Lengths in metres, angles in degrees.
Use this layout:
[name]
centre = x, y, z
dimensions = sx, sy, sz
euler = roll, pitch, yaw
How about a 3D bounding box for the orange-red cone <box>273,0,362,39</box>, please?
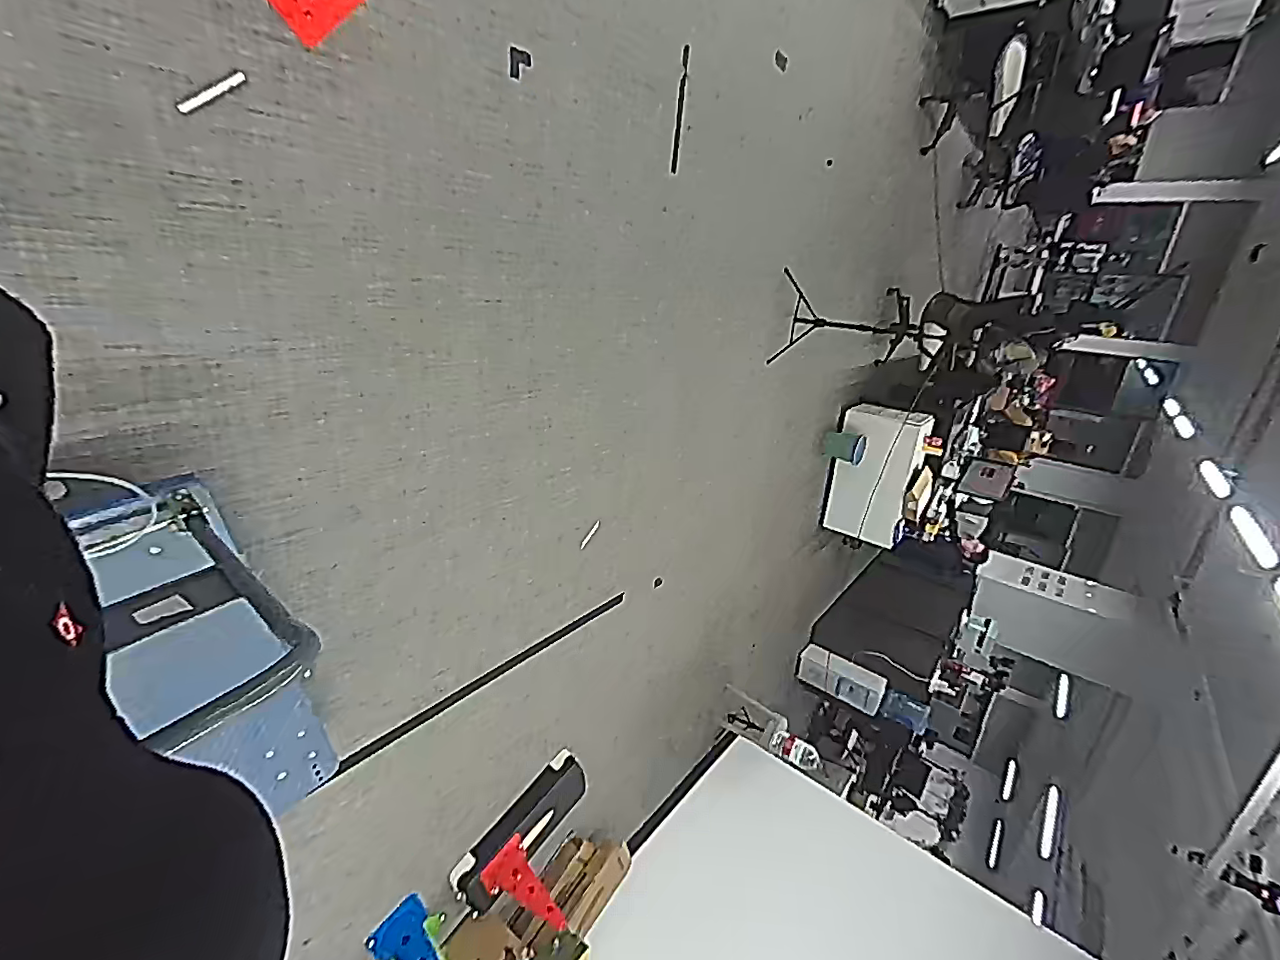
[orange-red cone]
centre = -0.523, -0.946, 0.931
dimensions = 0.199, 0.360, 0.198
euler = -57, 142, -15
